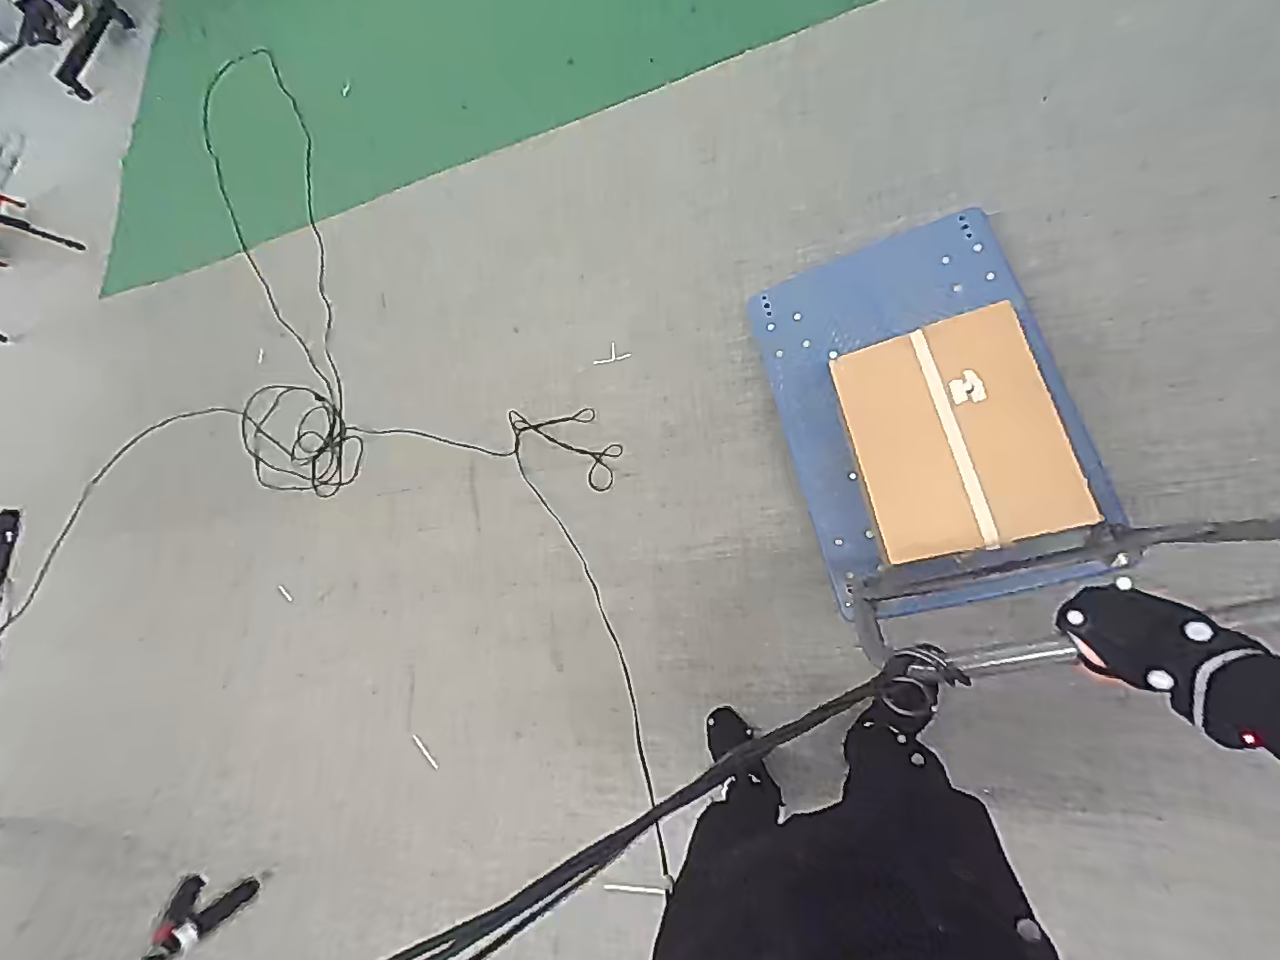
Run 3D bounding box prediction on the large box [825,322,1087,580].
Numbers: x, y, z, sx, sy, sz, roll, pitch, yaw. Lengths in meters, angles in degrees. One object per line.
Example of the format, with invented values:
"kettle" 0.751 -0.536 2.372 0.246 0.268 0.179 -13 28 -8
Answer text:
"large box" 0.597 -0.029 1.094 0.320 0.320 0.408 -16 73 18
